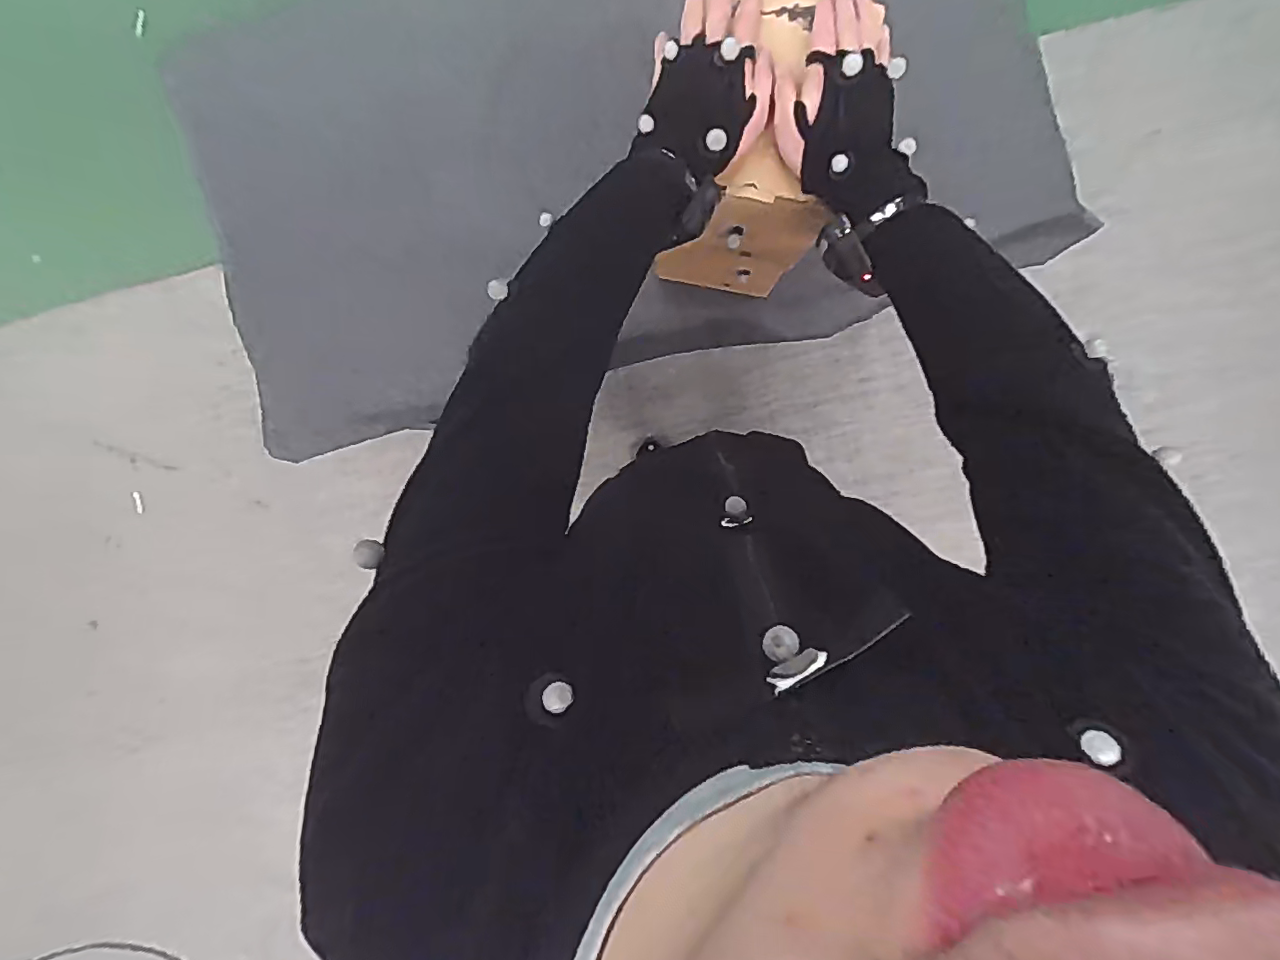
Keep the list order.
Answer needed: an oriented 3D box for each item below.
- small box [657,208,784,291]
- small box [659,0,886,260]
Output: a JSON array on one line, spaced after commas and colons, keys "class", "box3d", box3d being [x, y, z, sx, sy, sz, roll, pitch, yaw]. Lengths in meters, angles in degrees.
[{"class": "small box", "box3d": [0.120, -0.366, 0.710, 0.168, 0.176, 0.179, 11, 93, 1]}, {"class": "small box", "box3d": [0.117, -0.344, 0.549, 0.168, 0.176, 0.179, 11, 96, 0]}]
